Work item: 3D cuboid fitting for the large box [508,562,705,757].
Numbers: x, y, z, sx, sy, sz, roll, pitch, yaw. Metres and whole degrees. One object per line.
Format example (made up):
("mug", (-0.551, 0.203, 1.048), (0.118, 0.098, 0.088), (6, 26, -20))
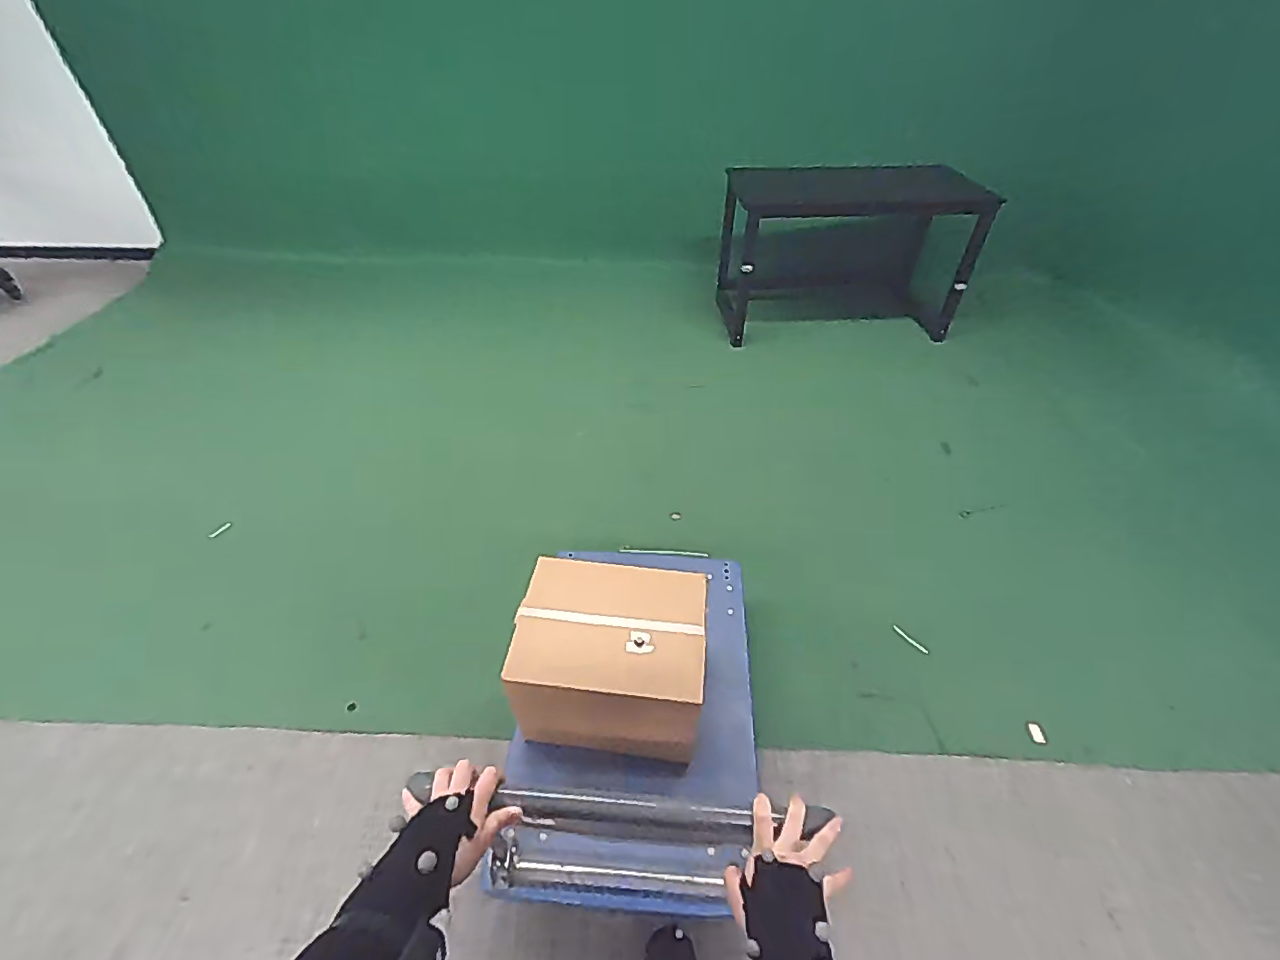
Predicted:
("large box", (-0.065, 0.426, 1.290), (0.408, 0.320, 0.320), (6, 44, 4))
